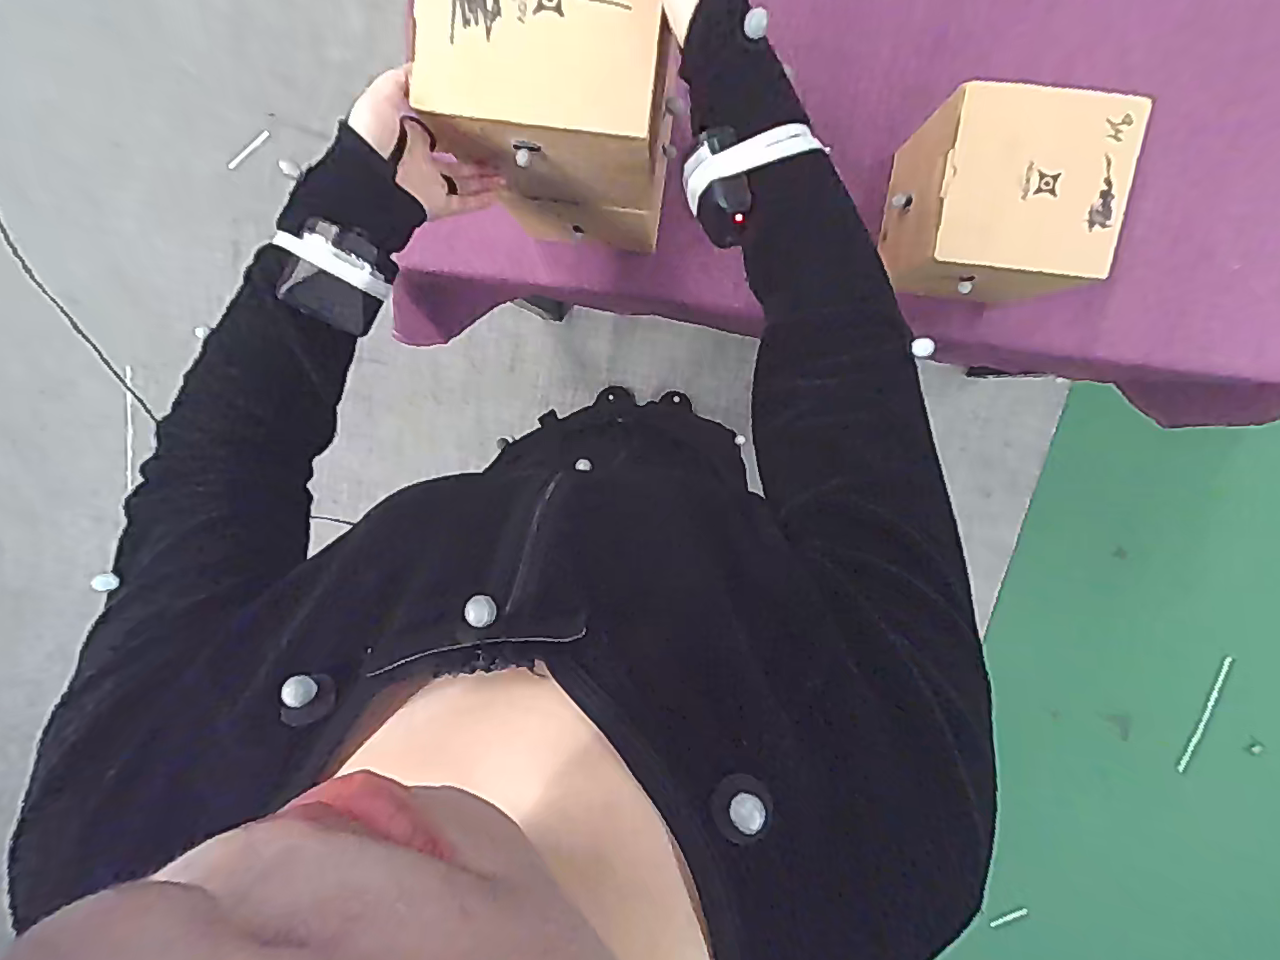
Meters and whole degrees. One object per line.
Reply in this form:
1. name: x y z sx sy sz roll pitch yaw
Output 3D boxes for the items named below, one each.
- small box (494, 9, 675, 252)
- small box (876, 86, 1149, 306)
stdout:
1. small box: -0.053 -0.374 0.615 0.168 0.176 0.179 9 100 1
2. small box: 0.387 -0.297 0.602 0.179 0.176 0.168 8 100 3
